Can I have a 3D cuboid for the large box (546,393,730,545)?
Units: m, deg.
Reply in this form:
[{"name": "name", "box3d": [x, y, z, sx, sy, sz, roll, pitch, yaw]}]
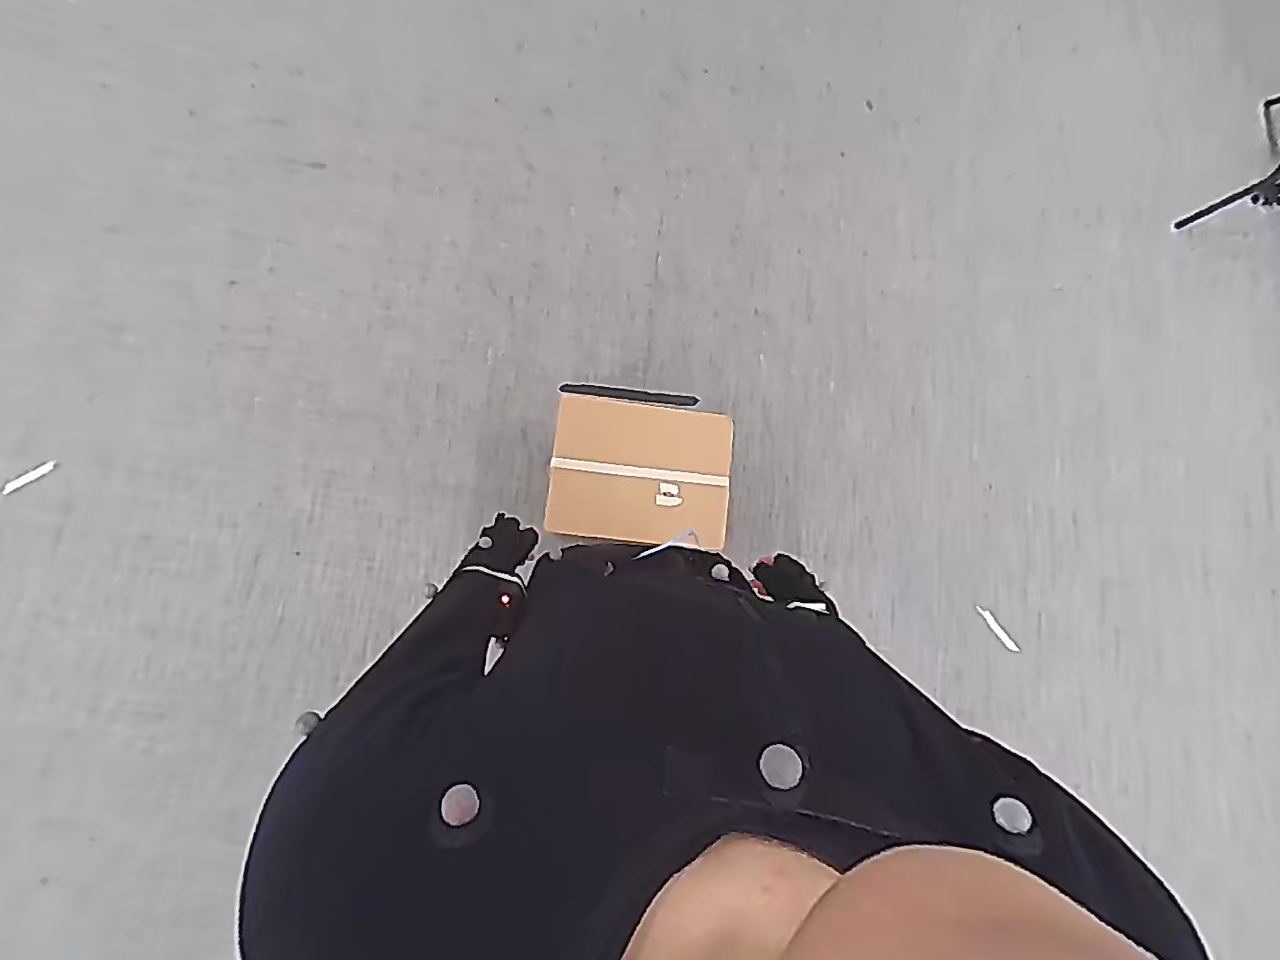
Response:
[{"name": "large box", "box3d": [-0.015, -0.009, 1.376, 0.408, 0.320, 0.320, 7, 83, -5]}]
